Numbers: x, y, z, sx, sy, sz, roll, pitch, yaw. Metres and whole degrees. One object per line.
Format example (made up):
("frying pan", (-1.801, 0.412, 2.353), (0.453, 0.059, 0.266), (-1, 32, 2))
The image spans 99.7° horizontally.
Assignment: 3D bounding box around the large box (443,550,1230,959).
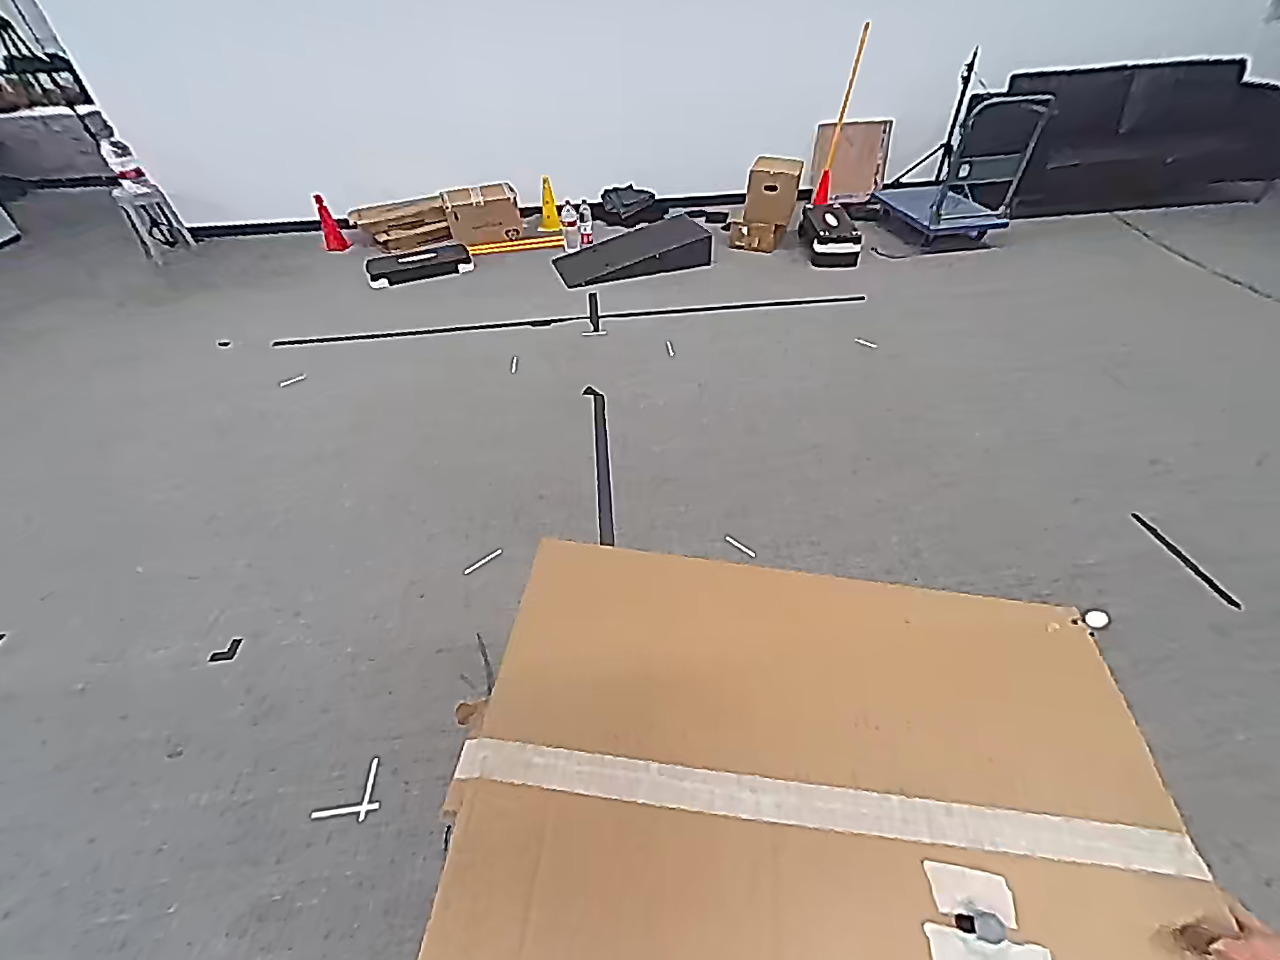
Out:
("large box", (0.097, 0.288, 0.422), (0.408, 0.320, 0.320), (8, 48, 1))
